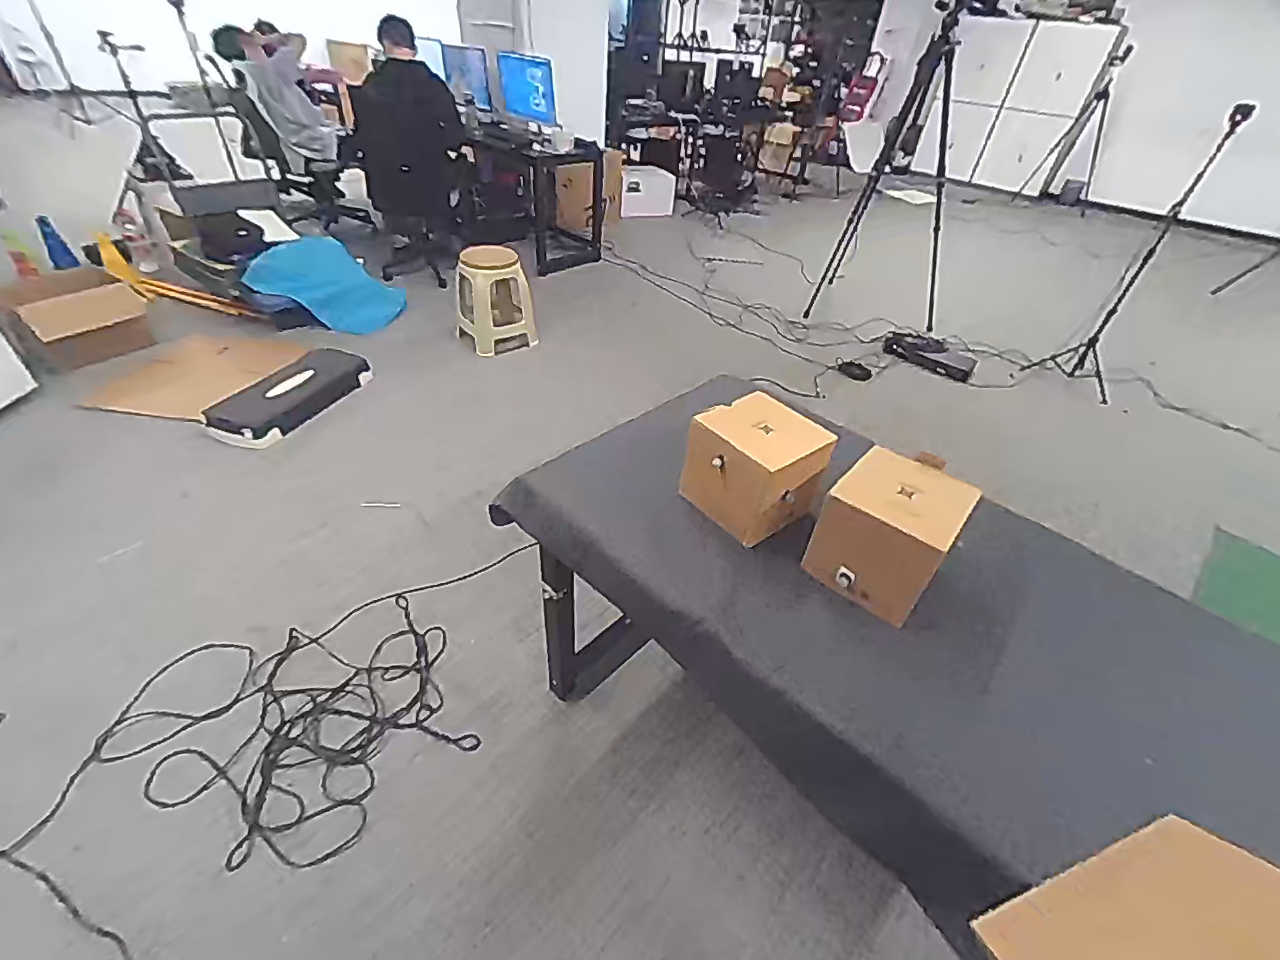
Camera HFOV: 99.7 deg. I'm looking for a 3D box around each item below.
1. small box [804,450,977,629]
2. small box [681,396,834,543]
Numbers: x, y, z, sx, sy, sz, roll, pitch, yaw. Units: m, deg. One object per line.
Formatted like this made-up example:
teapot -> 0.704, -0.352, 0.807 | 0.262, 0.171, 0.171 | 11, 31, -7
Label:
small box -> 0.373, 0.087, 0.825 | 0.168, 0.176, 0.179 | 30, 45, 28
small box -> 0.191, -0.014, 0.924 | 0.168, 0.176, 0.179 | -24, 47, -32
